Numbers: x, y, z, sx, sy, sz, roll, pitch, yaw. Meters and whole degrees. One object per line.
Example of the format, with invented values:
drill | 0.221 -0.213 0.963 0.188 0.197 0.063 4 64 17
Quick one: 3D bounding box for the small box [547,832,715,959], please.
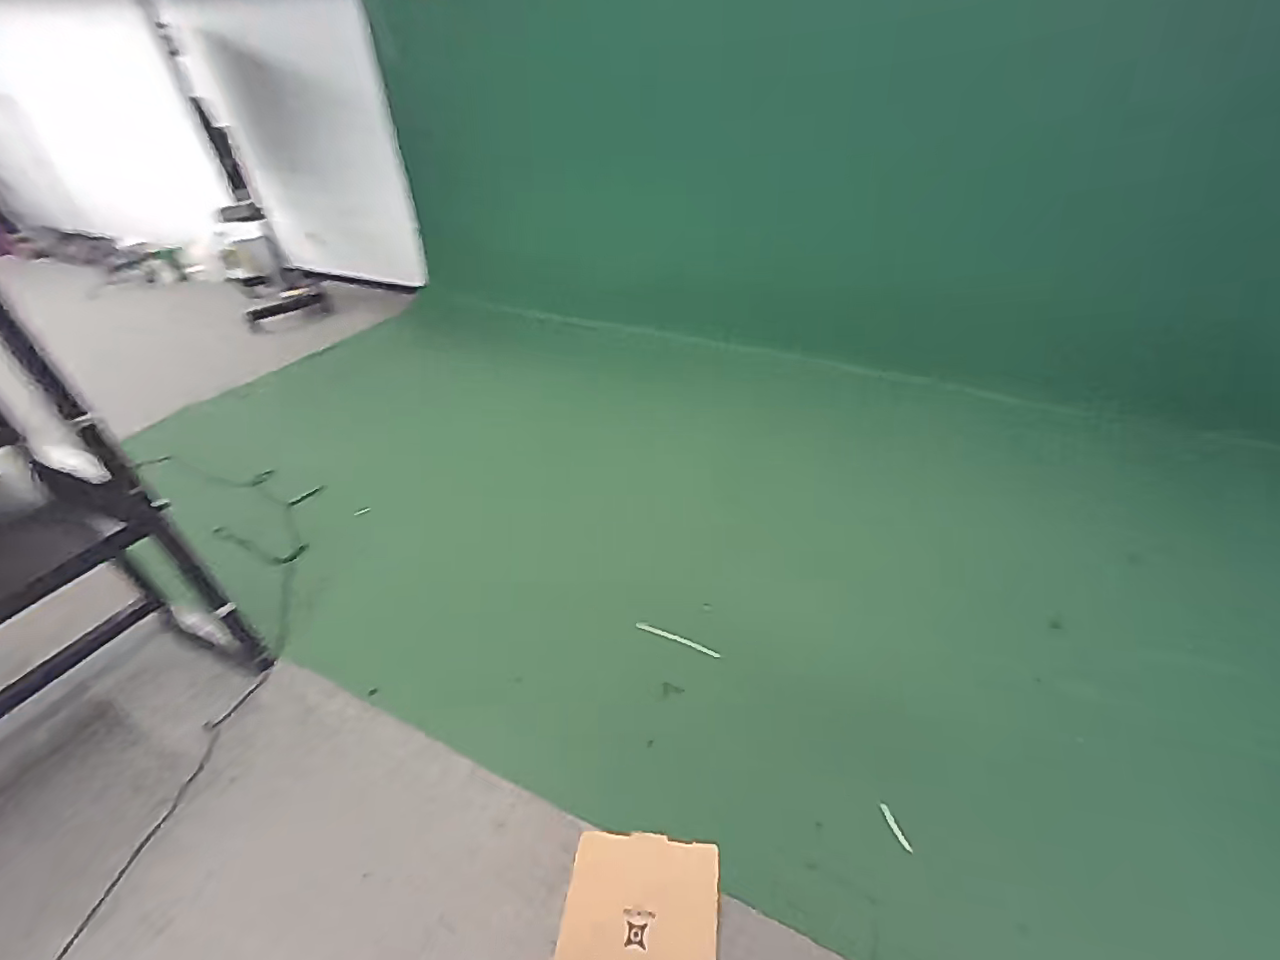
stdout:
small box | -0.002 0.538 0.607 0.168 0.176 0.179 -1 31 10
